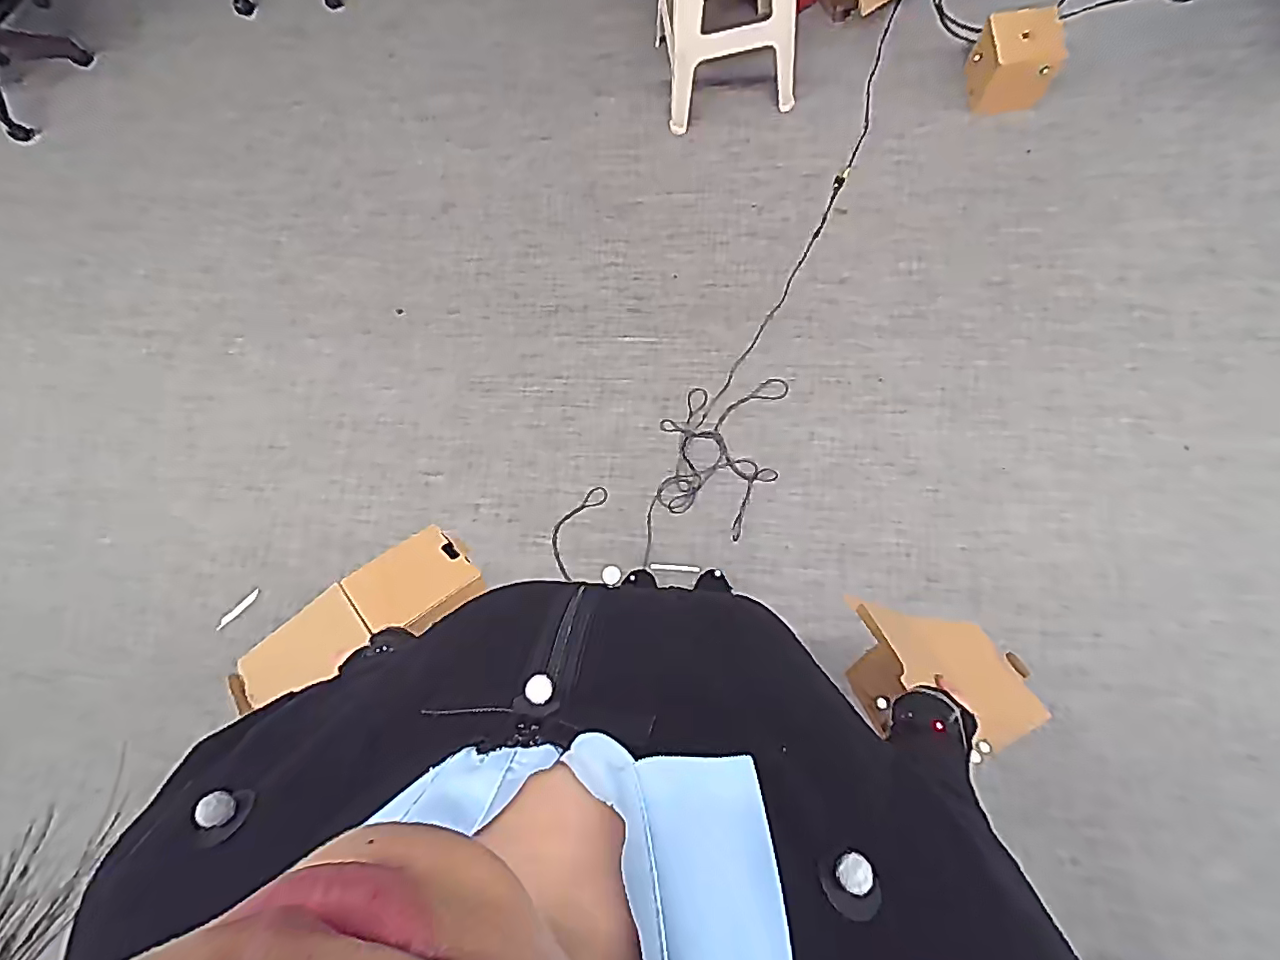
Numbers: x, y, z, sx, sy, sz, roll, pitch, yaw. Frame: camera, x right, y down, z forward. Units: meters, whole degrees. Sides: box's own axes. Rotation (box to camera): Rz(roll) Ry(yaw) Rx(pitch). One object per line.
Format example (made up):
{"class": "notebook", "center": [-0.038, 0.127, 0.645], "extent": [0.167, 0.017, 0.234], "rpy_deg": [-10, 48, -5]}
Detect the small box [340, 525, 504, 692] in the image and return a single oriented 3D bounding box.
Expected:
{"class": "small box", "center": [-0.358, 0.216, 0.910], "extent": [0.179, 0.176, 0.168], "rpy_deg": [-35, 49, -28]}
